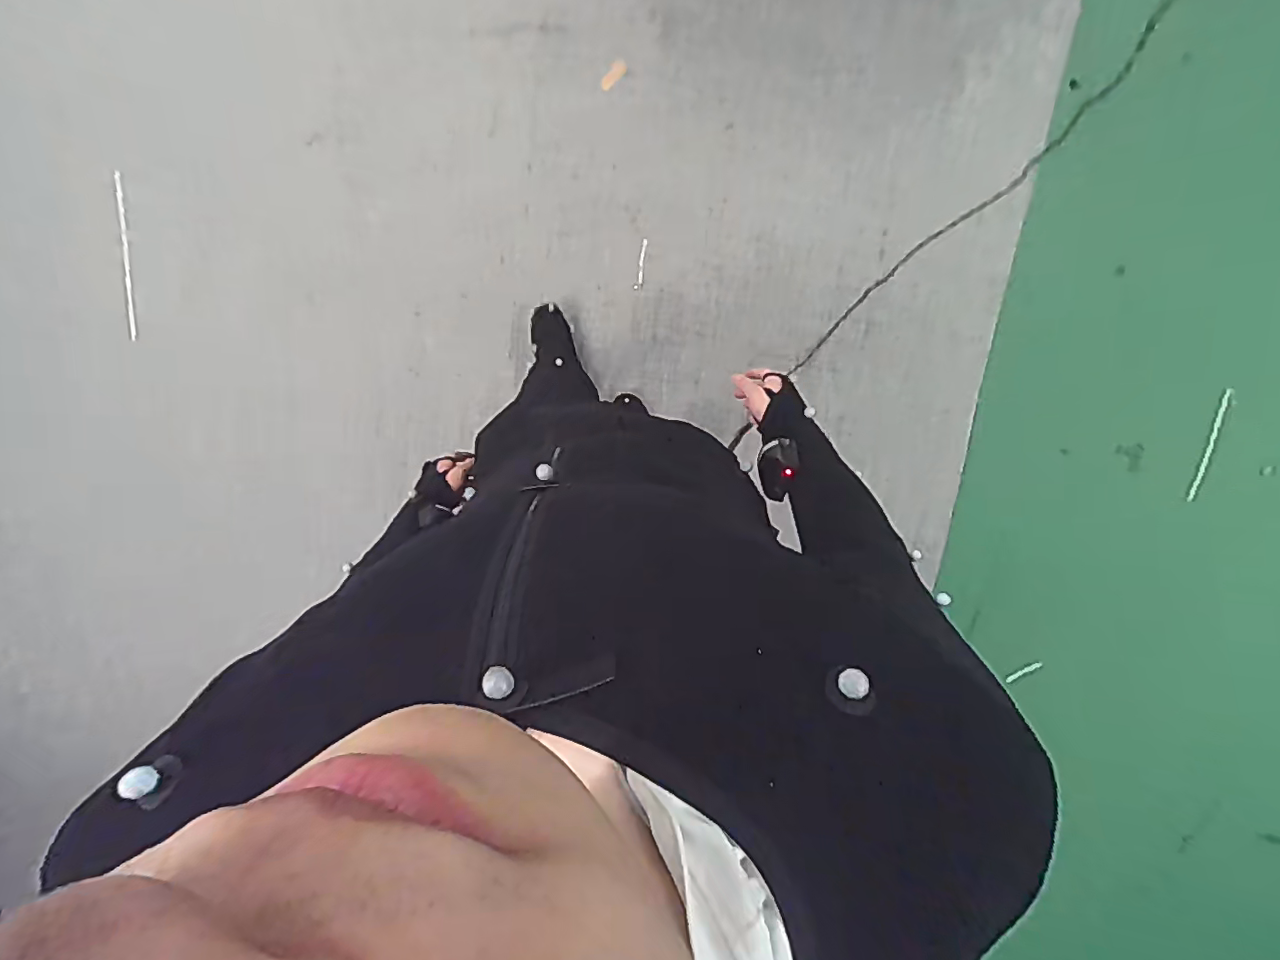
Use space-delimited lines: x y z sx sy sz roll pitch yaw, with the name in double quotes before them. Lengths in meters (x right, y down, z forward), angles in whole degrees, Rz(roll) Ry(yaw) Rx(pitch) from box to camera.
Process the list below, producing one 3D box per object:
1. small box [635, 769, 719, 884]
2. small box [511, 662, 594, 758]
"small box" 0.096 0.892 1.406 0.179 0.176 0.168 14 102 1
"small box" -0.244 0.650 1.547 0.179 0.176 0.168 17 104 -1
